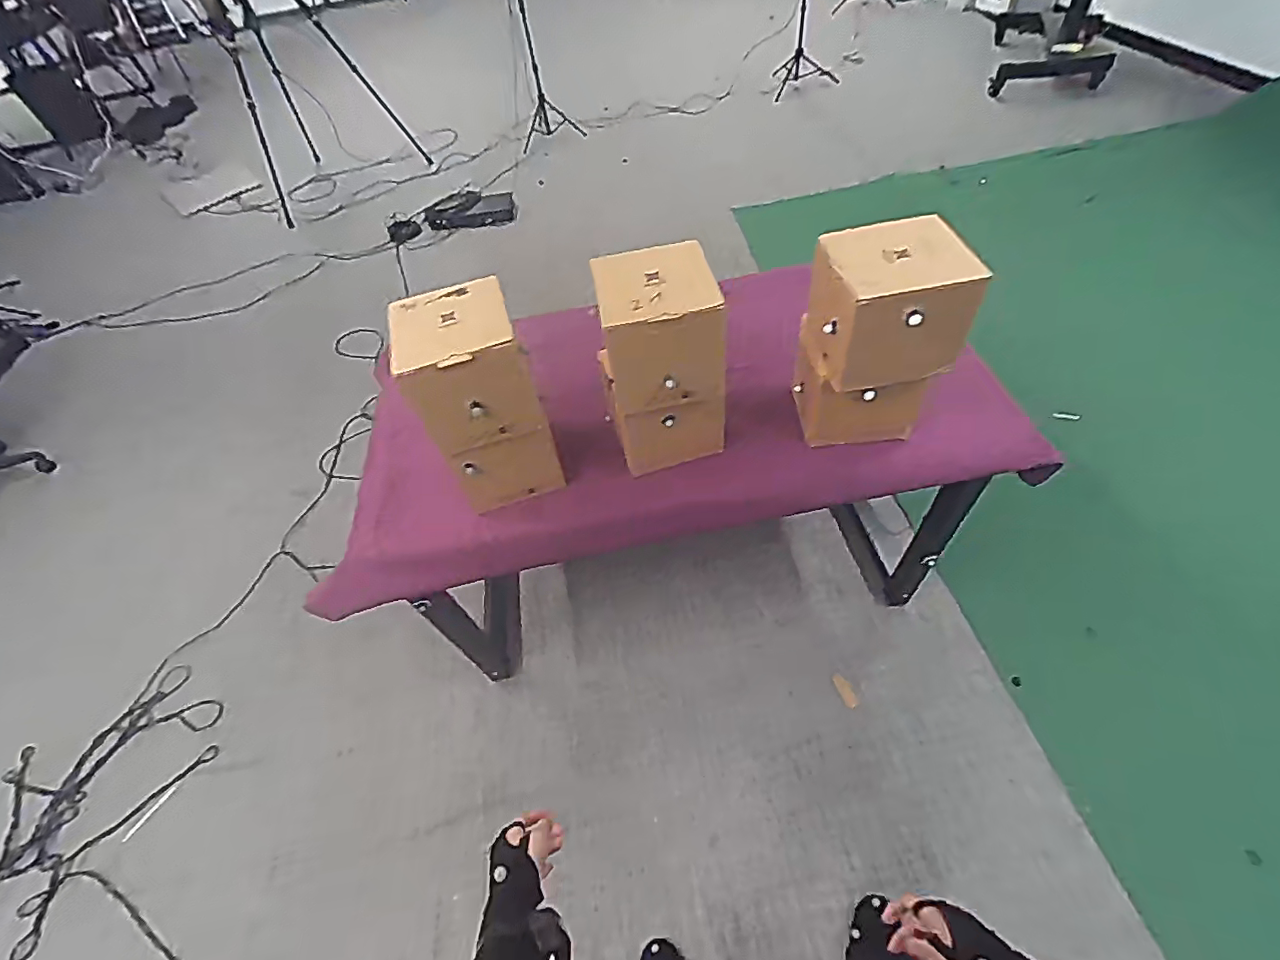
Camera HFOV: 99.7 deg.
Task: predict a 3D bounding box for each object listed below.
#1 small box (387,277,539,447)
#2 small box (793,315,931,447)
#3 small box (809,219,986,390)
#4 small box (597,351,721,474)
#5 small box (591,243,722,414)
[{"bbox_3d":[-0.261,-0.169,0.815,0.168,0.176,0.179,-17,53,-6],"label":"small box"},{"bbox_3d":[0.374,-0.175,0.942,0.179,0.176,0.168,-4,52,6],"label":"small box"},{"bbox_3d":[0.357,-0.251,0.795,0.179,0.176,0.168,-9,52,3],"label":"small box"},{"bbox_3d":[0.036,-0.134,0.957,0.179,0.176,0.168,-16,53,-5],"label":"small box"},{"bbox_3d":[0.024,-0.228,0.822,0.168,0.176,0.179,-11,53,0],"label":"small box"}]
